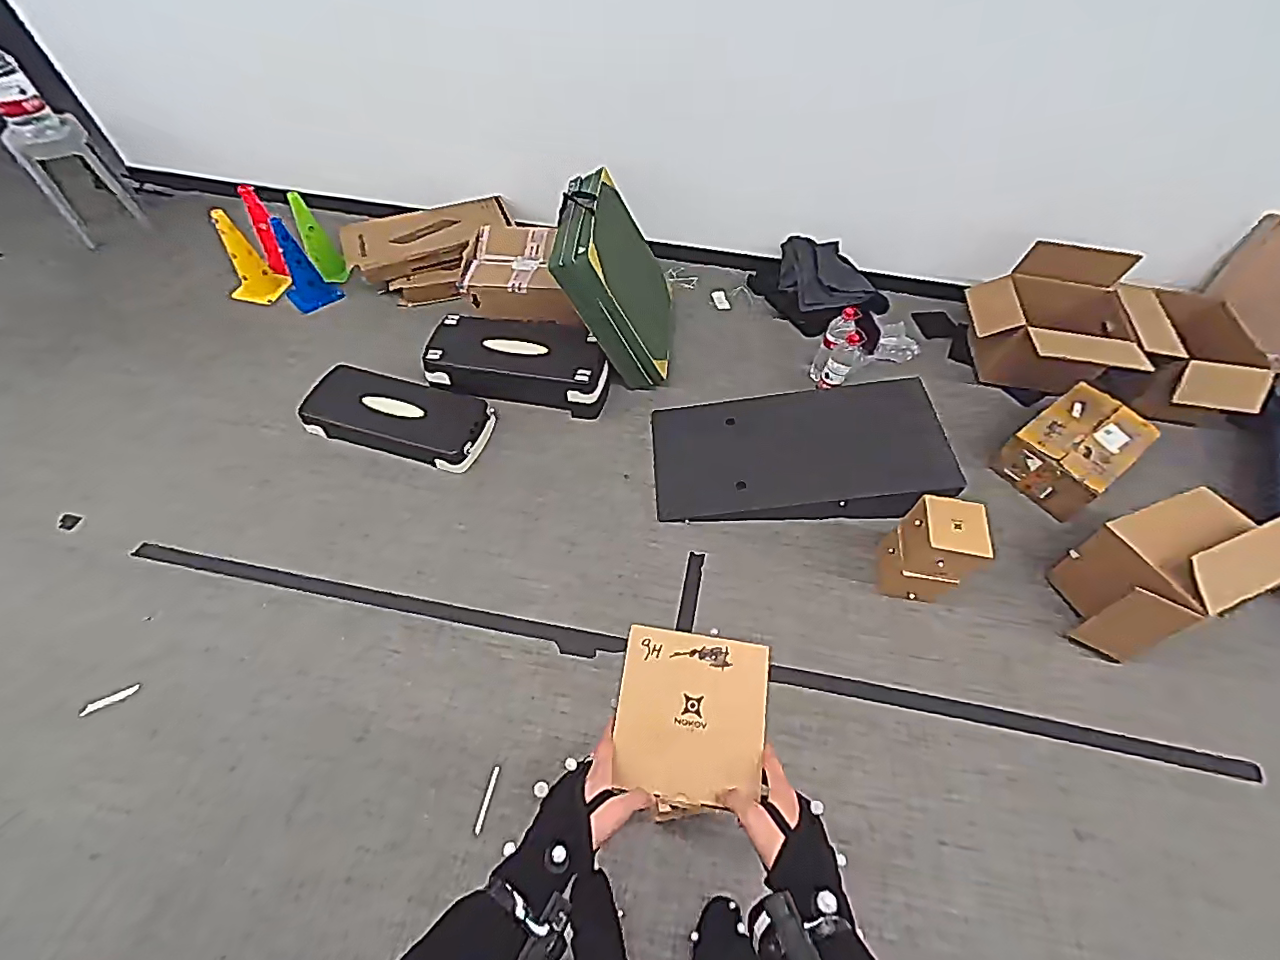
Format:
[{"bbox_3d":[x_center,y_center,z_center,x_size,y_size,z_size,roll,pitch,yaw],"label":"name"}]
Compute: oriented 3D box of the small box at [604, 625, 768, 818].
[{"bbox_3d":[0.058,0.295,0.677,0.168,0.176,0.179,9,66,5],"label":"small box"}]
